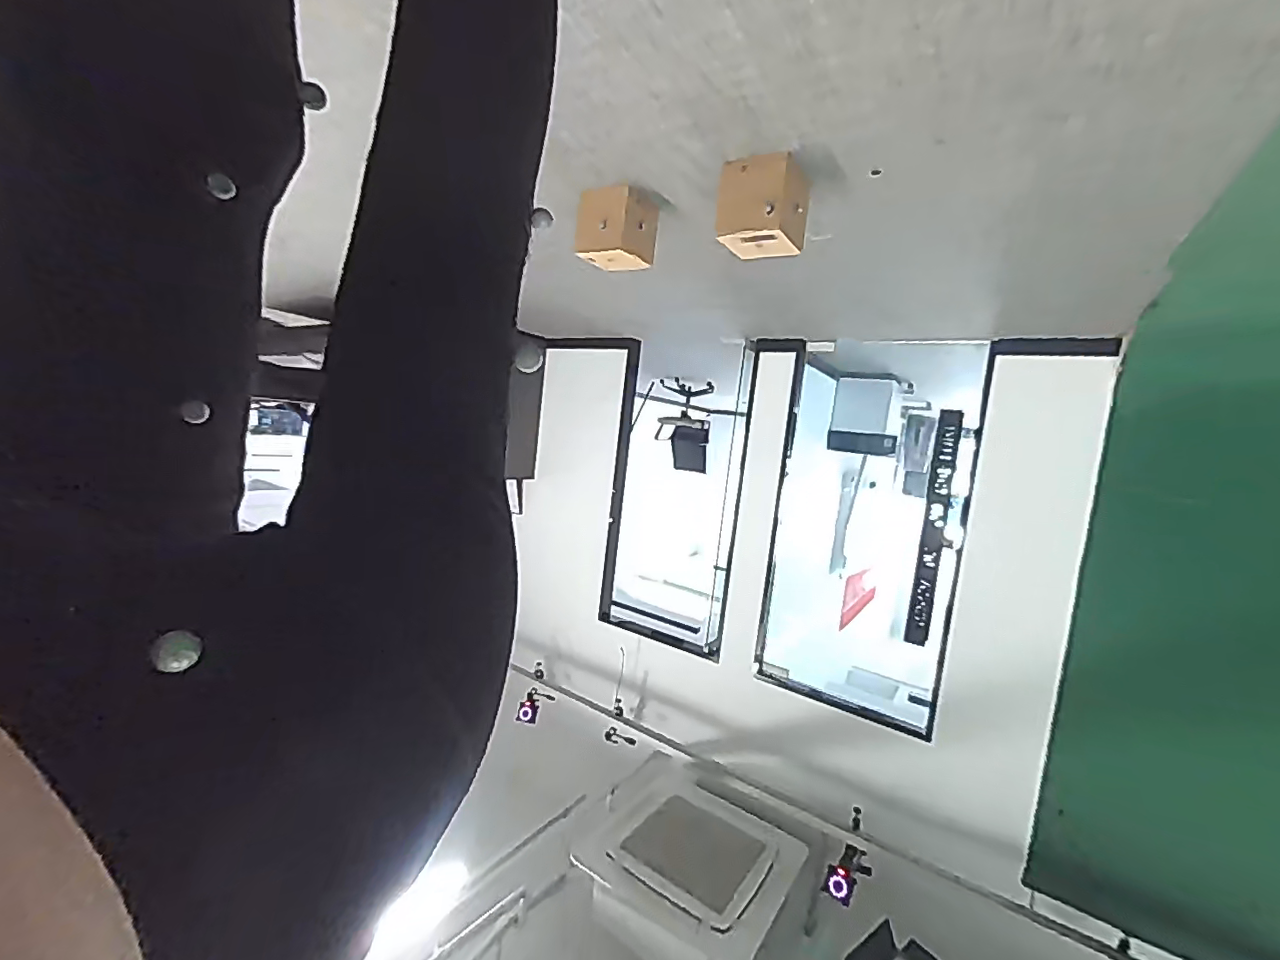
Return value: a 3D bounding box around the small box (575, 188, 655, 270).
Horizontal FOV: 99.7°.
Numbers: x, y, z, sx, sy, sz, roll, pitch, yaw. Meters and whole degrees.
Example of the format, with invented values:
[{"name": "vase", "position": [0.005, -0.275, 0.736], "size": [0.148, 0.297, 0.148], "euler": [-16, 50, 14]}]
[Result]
[{"name": "small box", "position": [-0.068, -0.722, 1.561], "size": [0.179, 0.176, 0.168], "euler": [9, -174, 32]}]
